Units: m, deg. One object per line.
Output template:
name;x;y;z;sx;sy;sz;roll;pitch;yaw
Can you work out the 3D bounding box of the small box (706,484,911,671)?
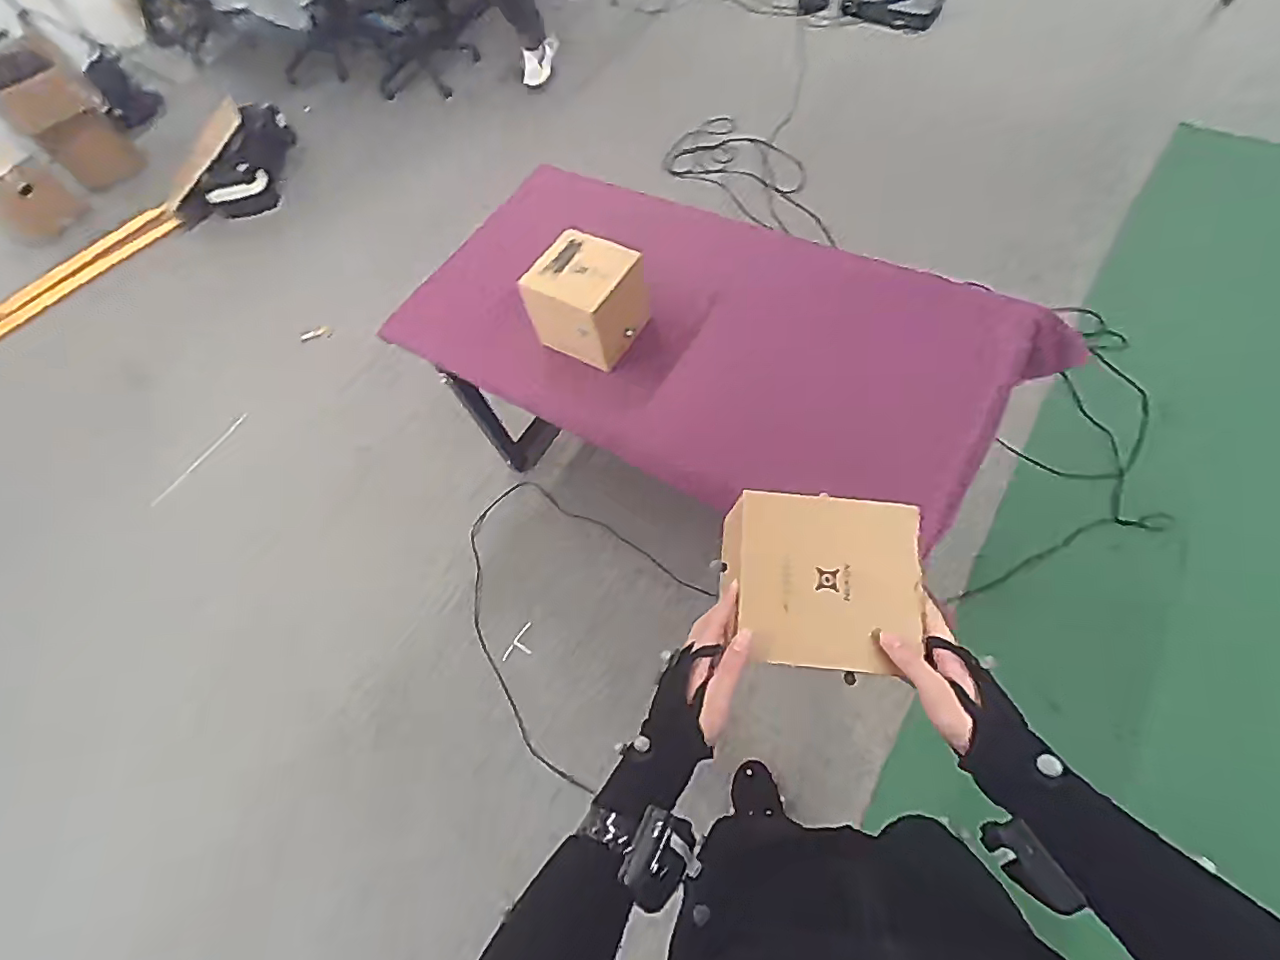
small box;0.173;0.110;0.596;0.179;0.176;0.168;5;74;3
